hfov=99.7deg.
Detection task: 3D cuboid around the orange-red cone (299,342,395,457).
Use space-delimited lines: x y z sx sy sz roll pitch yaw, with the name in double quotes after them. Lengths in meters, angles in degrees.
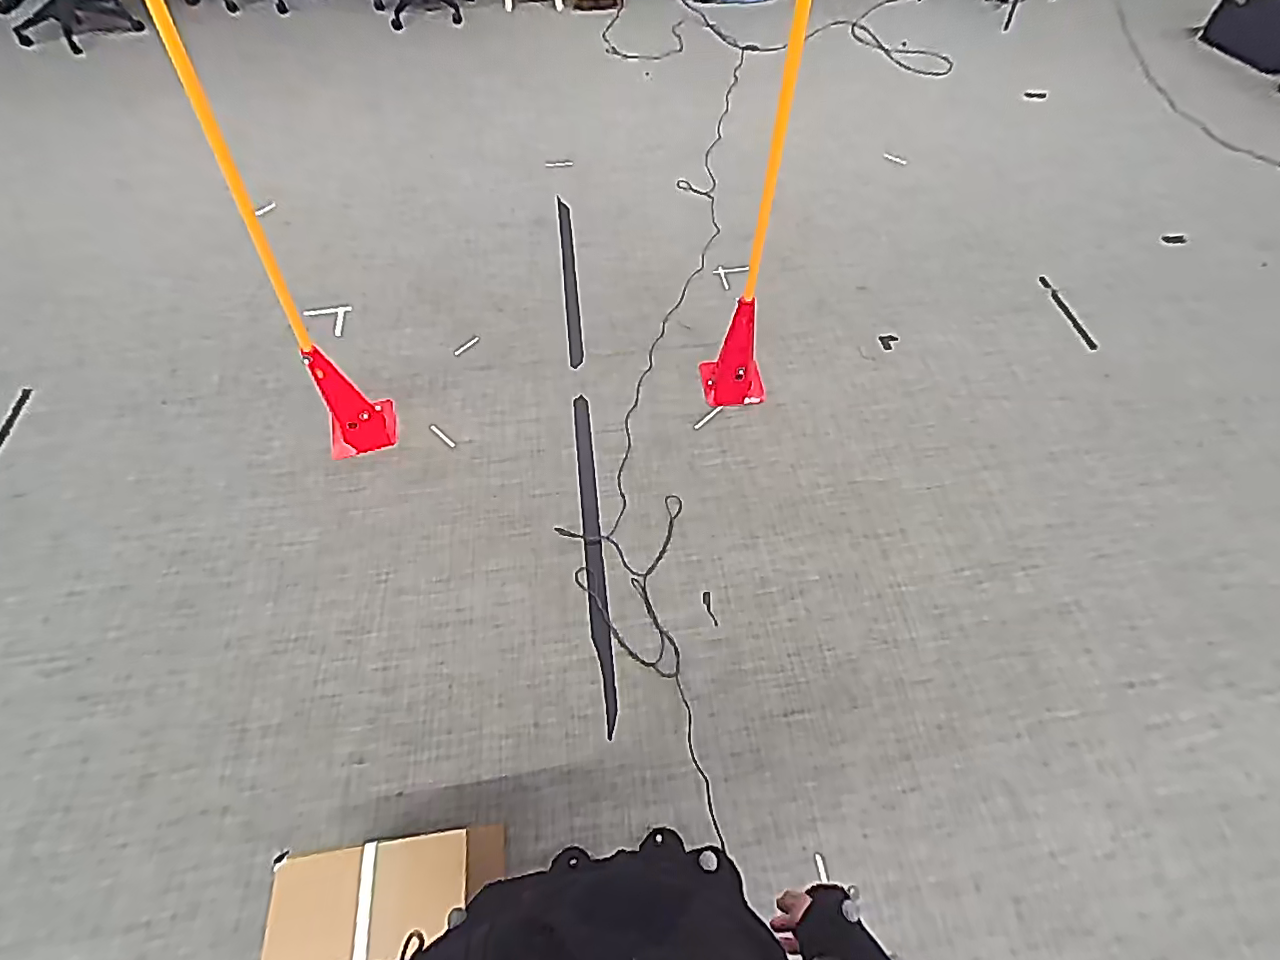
-0.886 -0.257 1.579 0.199 0.360 0.198 -15 59 -8 "orange-red cone"
